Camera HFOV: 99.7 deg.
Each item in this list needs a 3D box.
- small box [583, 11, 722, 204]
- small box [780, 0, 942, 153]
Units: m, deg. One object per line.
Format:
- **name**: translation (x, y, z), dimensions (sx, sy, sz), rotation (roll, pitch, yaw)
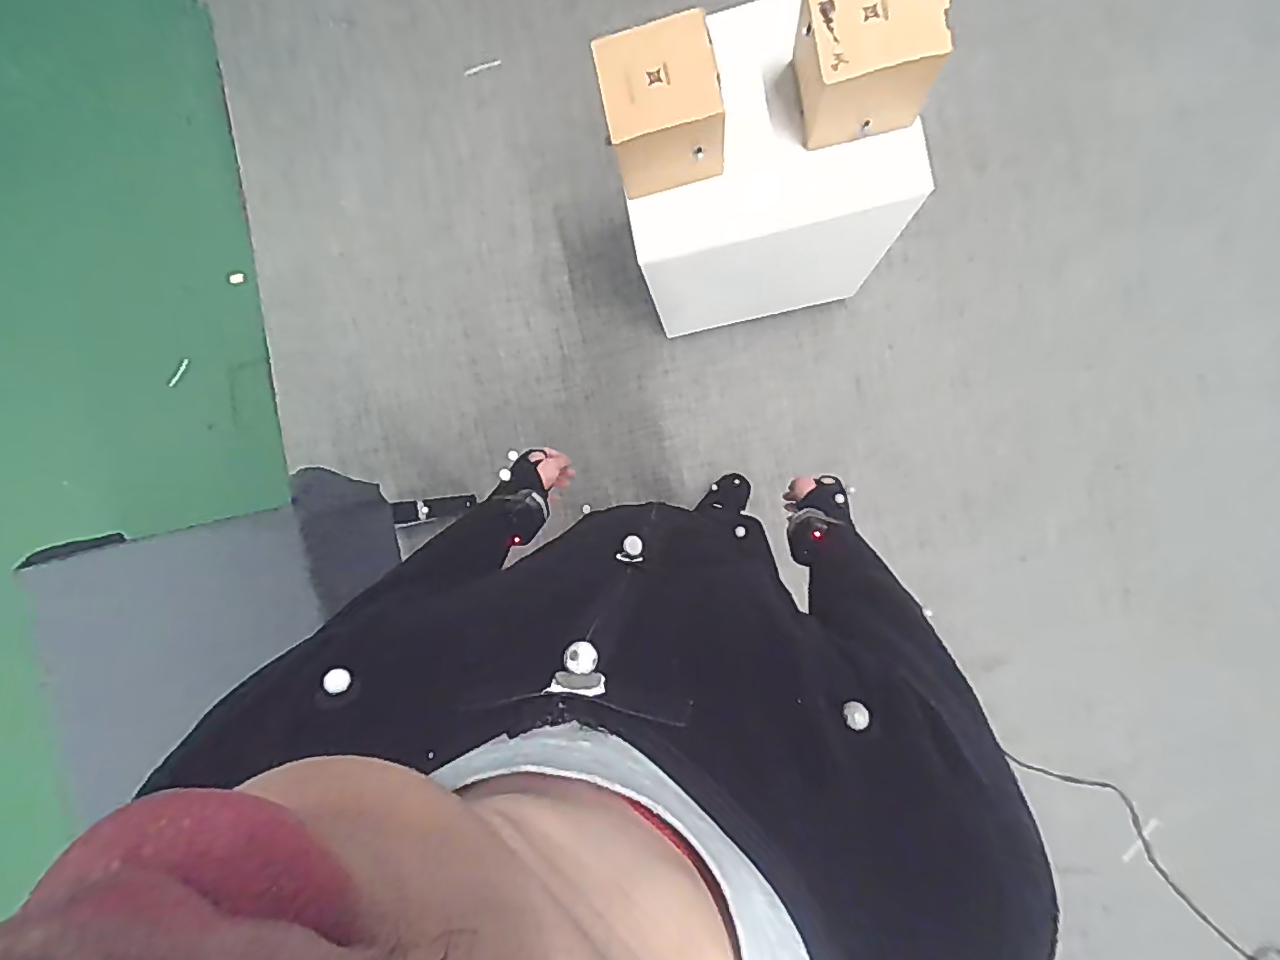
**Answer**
- **small box**: translation (0.024, -0.582, 0.868), dimensions (0.179, 0.176, 0.168), rotation (-14, 87, 6)
- **small box**: translation (0.328, -0.647, 0.835), dimensions (0.179, 0.176, 0.168), rotation (-11, 89, 6)
